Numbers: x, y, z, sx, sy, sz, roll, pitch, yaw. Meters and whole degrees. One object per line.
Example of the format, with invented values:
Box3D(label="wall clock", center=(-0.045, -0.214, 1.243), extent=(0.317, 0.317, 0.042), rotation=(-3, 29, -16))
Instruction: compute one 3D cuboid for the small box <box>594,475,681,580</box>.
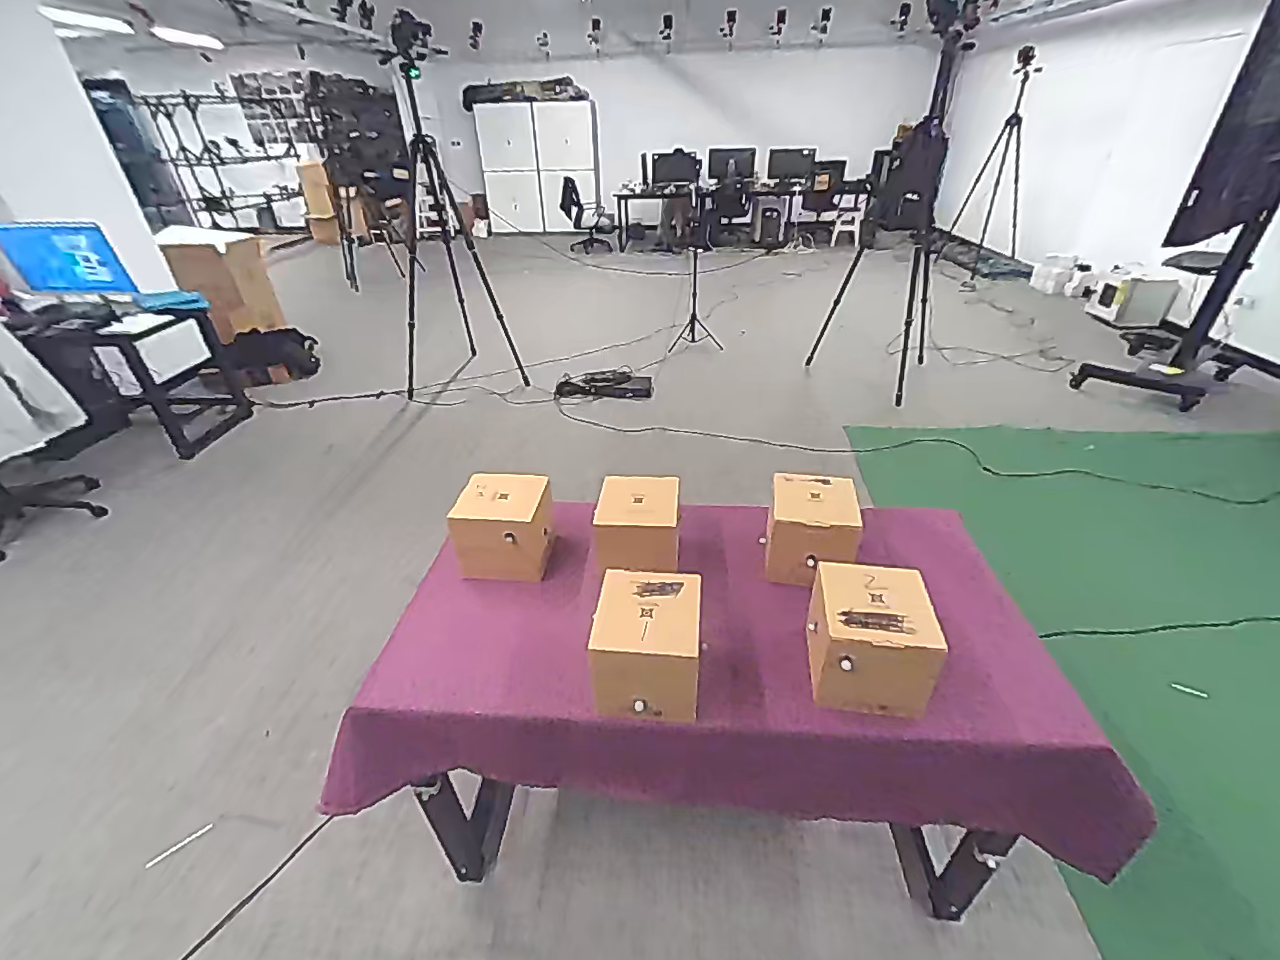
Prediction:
Box3D(label="small box", center=(0.001, 0.106, 1.160), extent=(0.168, 0.176, 0.179), rotation=(1, 34, 6))

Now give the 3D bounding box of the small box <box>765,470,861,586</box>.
Box3D(label="small box", center=(0.357, 0.100, 1.139), extent=(0.168, 0.176, 0.179), rotation=(5, 35, 11))

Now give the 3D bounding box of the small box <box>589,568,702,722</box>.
Box3D(label="small box", center=(0.016, 0.271, 0.904), extent=(0.168, 0.176, 0.179), rotation=(2, 34, 7))

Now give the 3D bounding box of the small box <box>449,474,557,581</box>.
Box3D(label="small box", center=(-0.287, 0.104, 1.180), extent=(0.179, 0.176, 0.168), rotation=(2, 33, 6))
